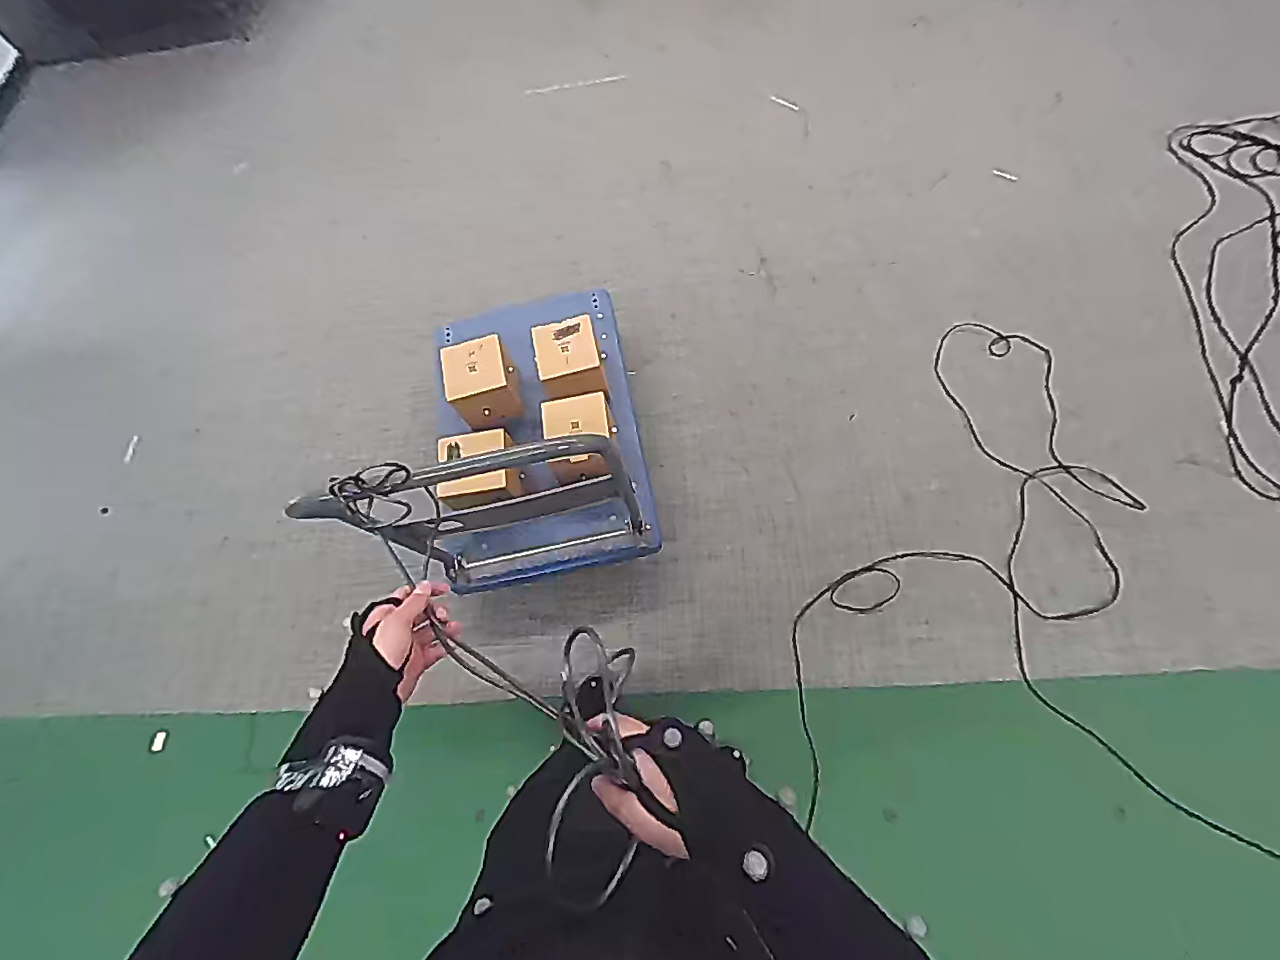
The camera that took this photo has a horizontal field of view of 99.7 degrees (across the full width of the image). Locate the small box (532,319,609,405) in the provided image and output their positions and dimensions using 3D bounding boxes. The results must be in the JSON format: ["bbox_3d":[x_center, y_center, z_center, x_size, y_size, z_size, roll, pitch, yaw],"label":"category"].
[{"bbox_3d":[-0.192,-0.316,1.514,0.168,0.176,0.179,-14,68,3],"label":"small box"}]

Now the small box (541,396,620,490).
[{"bbox_3d":[-0.153,-0.092,1.421,0.168,0.176,0.179,-11,67,3],"label":"small box"}]

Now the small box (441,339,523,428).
[{"bbox_3d":[-0.442,-0.262,1.526,0.168,0.176,0.179,-15,67,0],"label":"small box"}]
